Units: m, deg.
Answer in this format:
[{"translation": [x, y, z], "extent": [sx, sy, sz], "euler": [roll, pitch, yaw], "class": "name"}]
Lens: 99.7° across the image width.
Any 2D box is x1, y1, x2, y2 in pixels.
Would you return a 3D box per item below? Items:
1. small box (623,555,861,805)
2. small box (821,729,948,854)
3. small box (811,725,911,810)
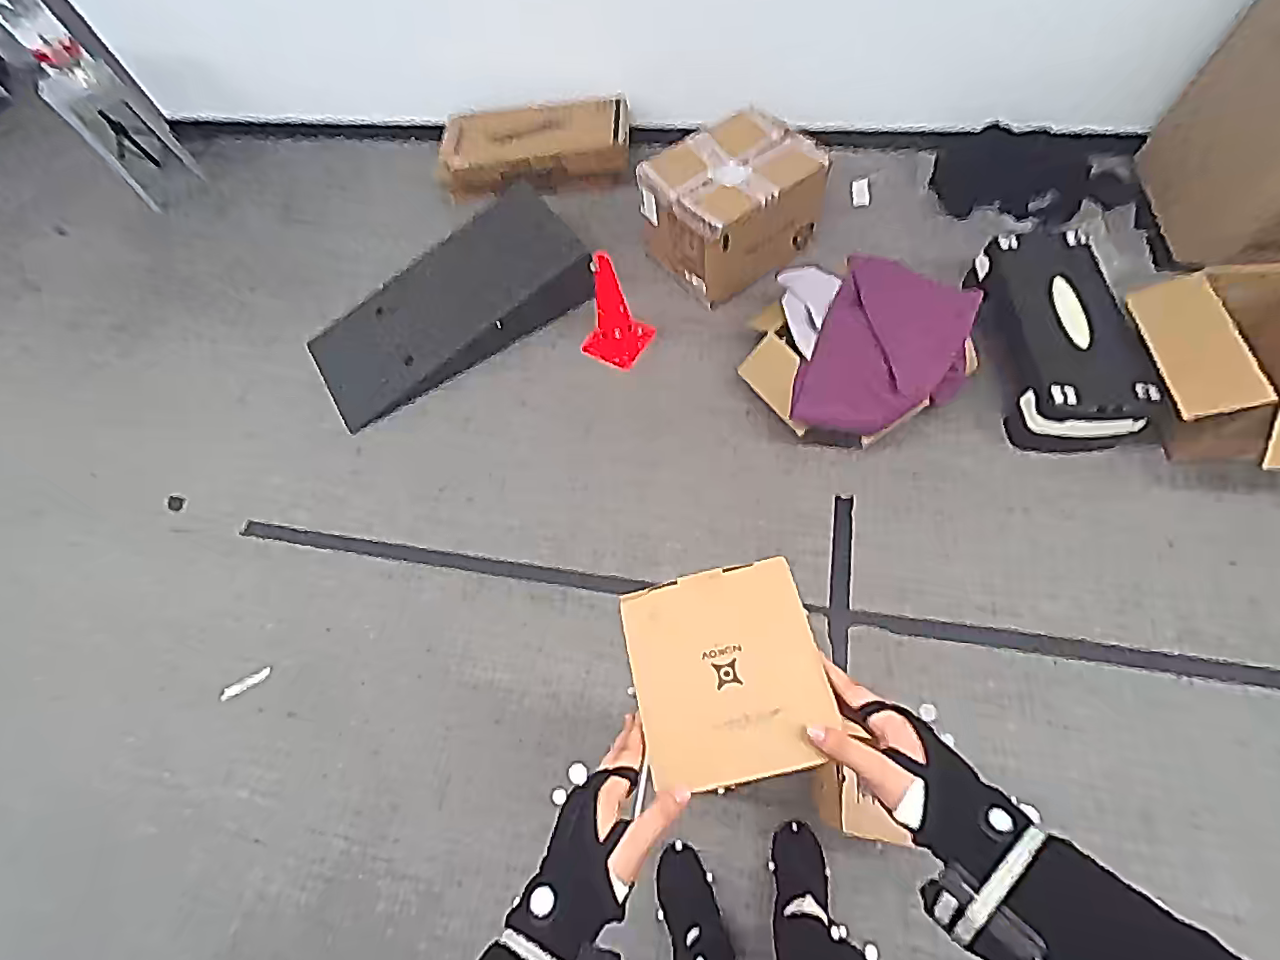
[{"translation": [0.091, 0.195, 0.534], "extent": [0.168, 0.176, 0.179], "euler": [-16, 66, 4], "class": "small box"}, {"translation": [0.440, 0.565, 0.999], "extent": [0.179, 0.176, 0.168], "euler": [7, 65, 9], "class": "small box"}, {"translation": [0.467, 0.626, 1.152], "extent": [0.168, 0.176, 0.179], "euler": [9, 66, 10], "class": "small box"}]
